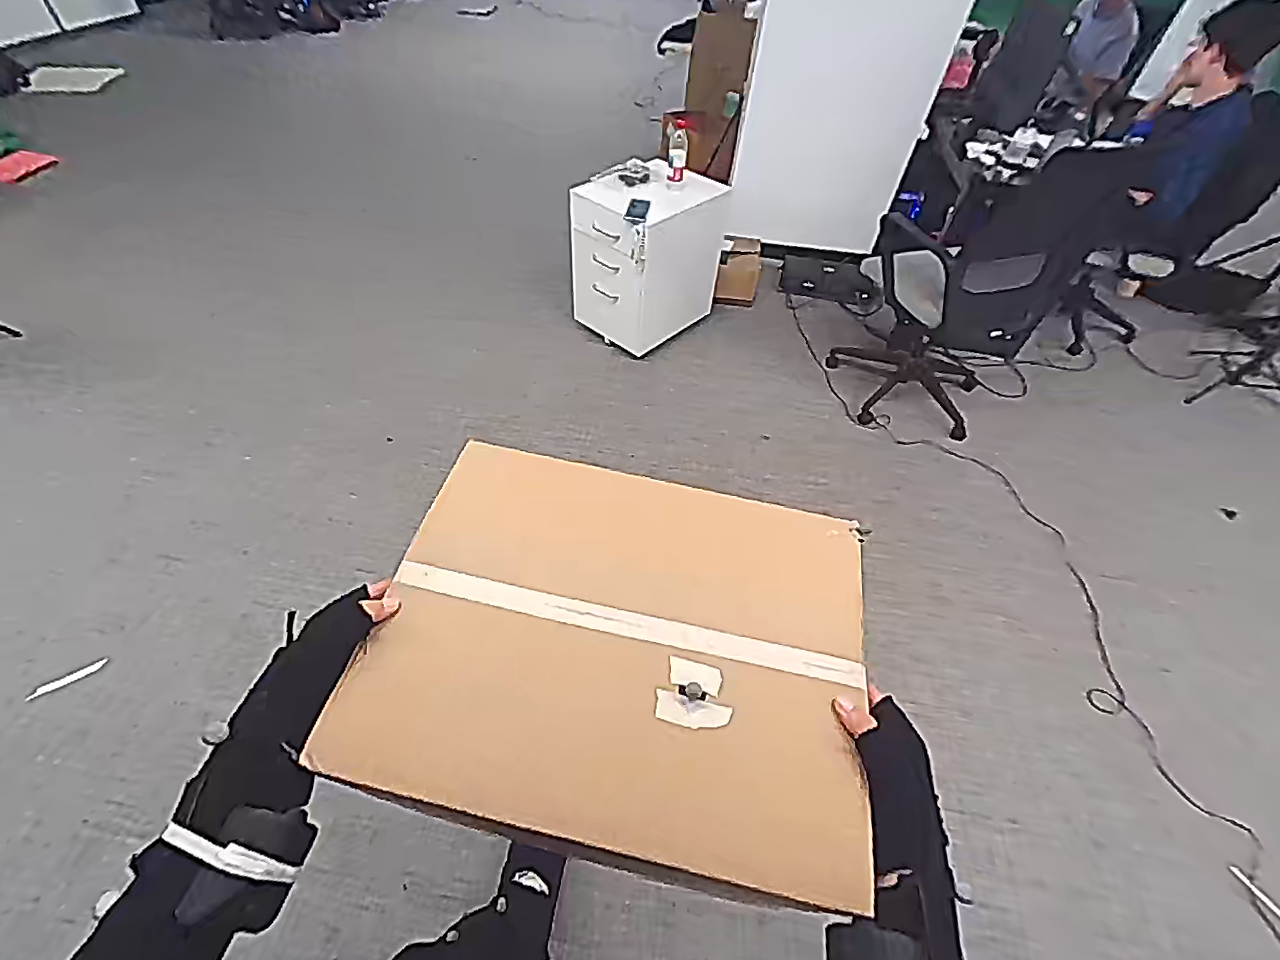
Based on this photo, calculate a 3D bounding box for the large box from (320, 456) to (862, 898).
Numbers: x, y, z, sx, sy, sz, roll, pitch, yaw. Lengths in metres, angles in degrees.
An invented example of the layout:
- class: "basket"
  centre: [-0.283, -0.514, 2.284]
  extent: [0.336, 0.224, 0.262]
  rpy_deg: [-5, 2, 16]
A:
- class: "large box"
  centre: [-0.025, 0.218, 0.588]
  extent: [0.408, 0.320, 0.320]
  rpy_deg: [12, 54, 4]
